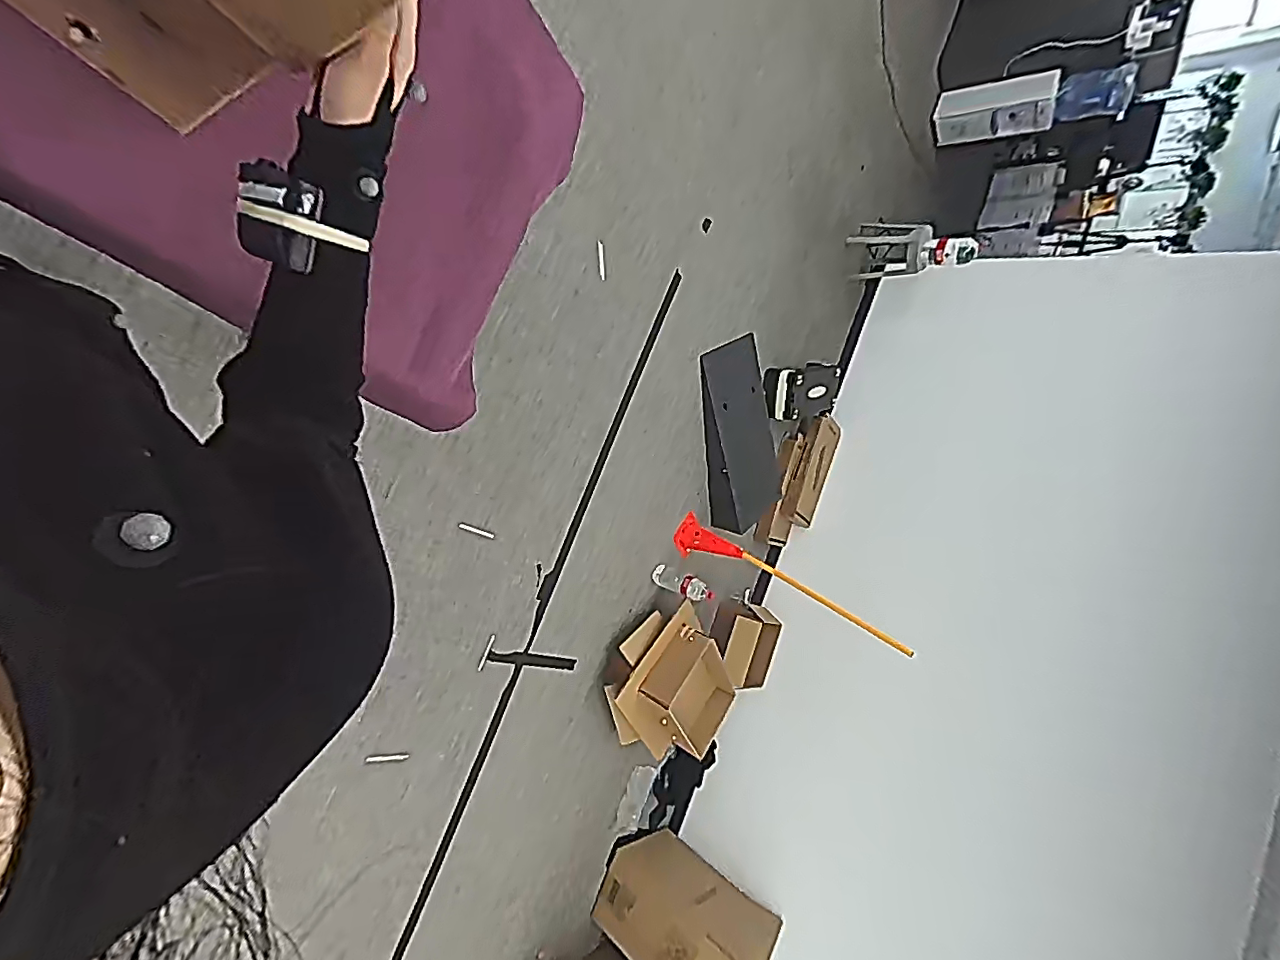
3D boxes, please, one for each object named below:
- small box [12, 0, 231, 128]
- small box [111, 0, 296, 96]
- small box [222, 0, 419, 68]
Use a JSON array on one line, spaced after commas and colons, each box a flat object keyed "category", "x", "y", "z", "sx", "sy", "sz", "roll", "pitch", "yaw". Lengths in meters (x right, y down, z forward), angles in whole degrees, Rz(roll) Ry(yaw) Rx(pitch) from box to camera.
[{"category": "small box", "x": -0.430, "y": -0.454, "z": 0.477, "sx": 0.168, "sy": 0.176, "sz": 0.179, "roll": 37, "pitch": 73, "yaw": -51}, {"category": "small box", "x": -0.302, "y": -0.421, "z": 0.379, "sx": 0.168, "sy": 0.176, "sz": 0.179, "roll": 36, "pitch": 75, "yaw": -50}, {"category": "small box", "x": -0.186, "y": -0.365, "z": 0.278, "sx": 0.168, "sy": 0.176, "sz": 0.179, "roll": 31, "pitch": 77, "yaw": -52}]
